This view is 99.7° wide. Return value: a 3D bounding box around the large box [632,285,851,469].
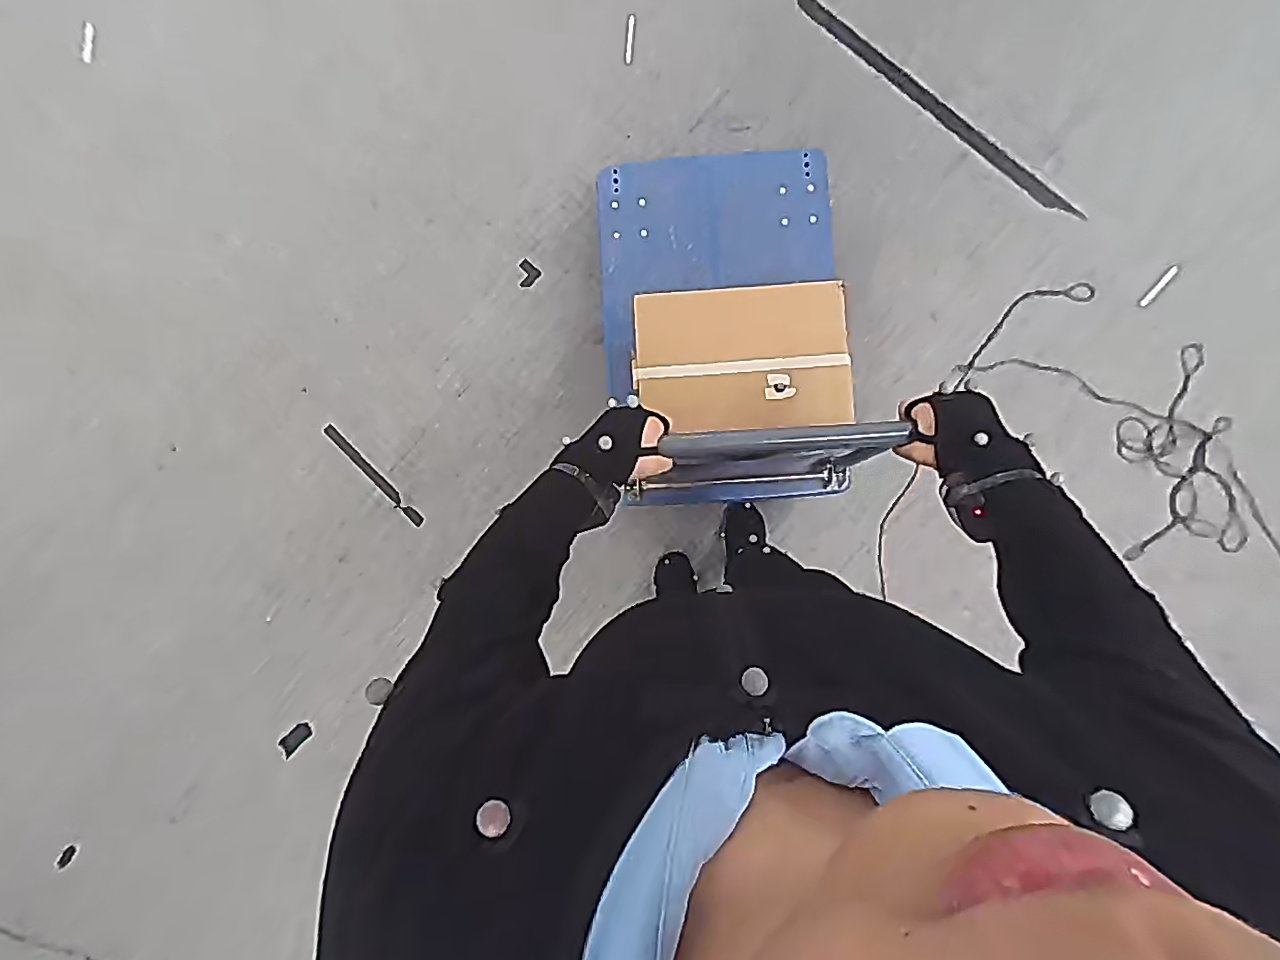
[{"bbox_3d":[0.198,-0.202,1.189,0.408,0.320,0.320,-4,87,2],"label":"large box"}]
